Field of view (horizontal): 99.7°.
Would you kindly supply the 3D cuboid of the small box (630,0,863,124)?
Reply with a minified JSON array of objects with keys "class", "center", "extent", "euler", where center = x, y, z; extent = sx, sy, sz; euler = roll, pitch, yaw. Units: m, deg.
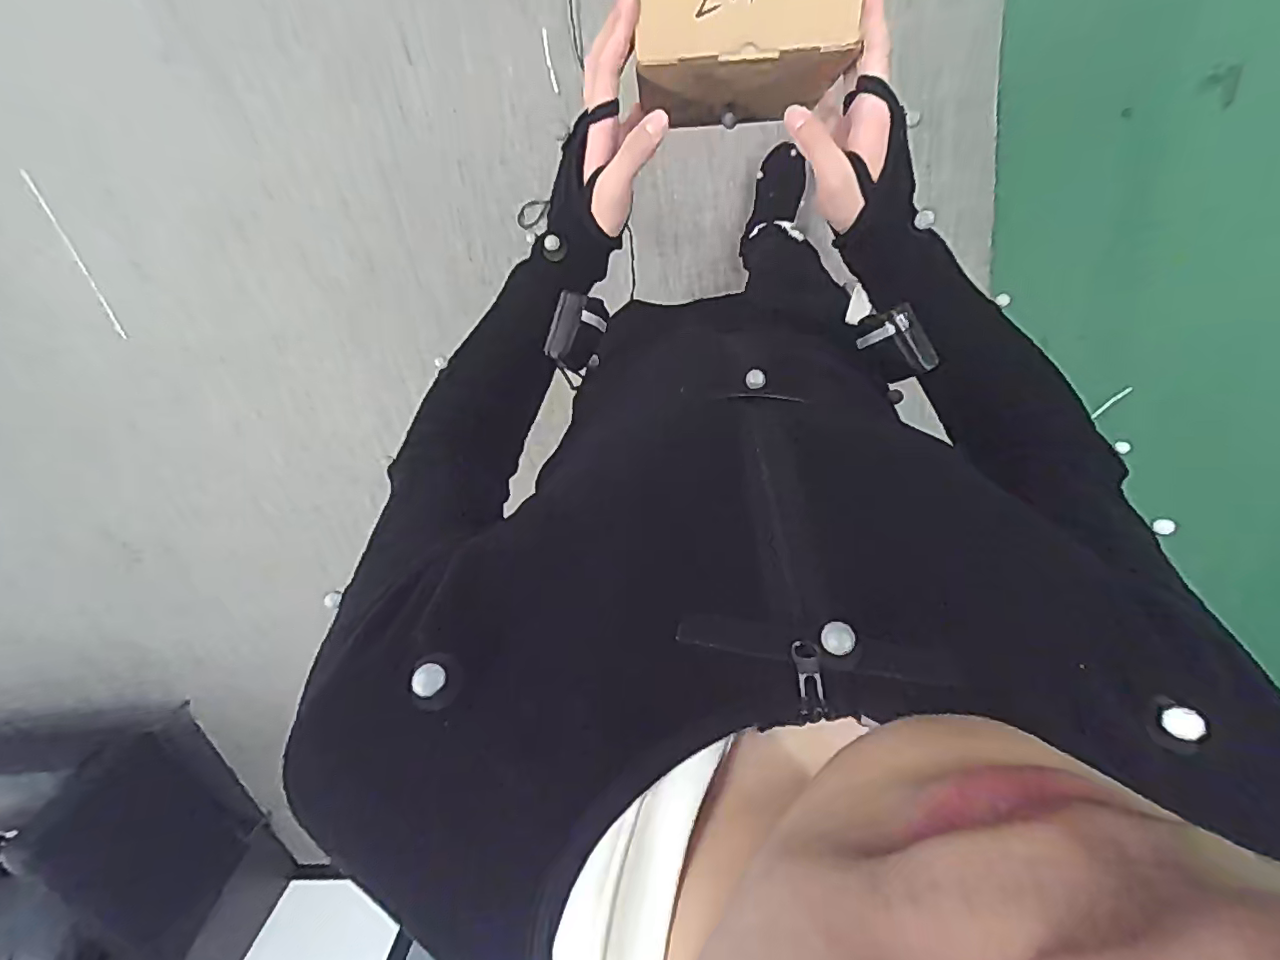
[{"class":"small box","center":[0.076,-0.418,0.438],"extent":[0.168,0.176,0.179],"euler":[-1,109,4]}]
